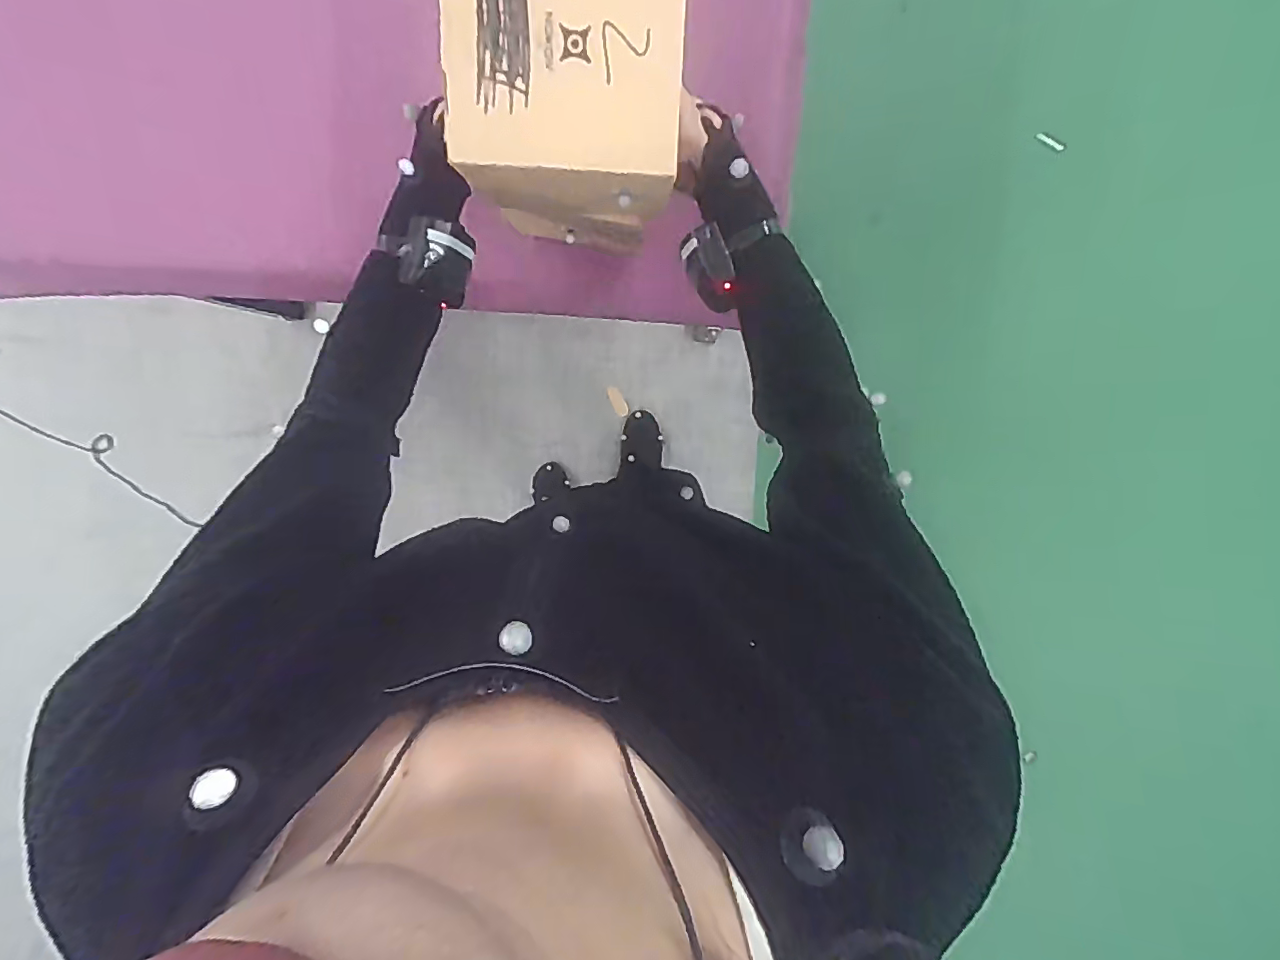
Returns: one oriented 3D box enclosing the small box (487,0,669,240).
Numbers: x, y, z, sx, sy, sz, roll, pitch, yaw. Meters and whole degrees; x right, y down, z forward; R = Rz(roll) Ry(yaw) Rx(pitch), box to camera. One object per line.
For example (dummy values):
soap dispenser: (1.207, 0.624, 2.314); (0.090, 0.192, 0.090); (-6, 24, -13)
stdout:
small box: (-0.067, -0.389, 0.619); (0.168, 0.176, 0.179); (8, 104, -5)
